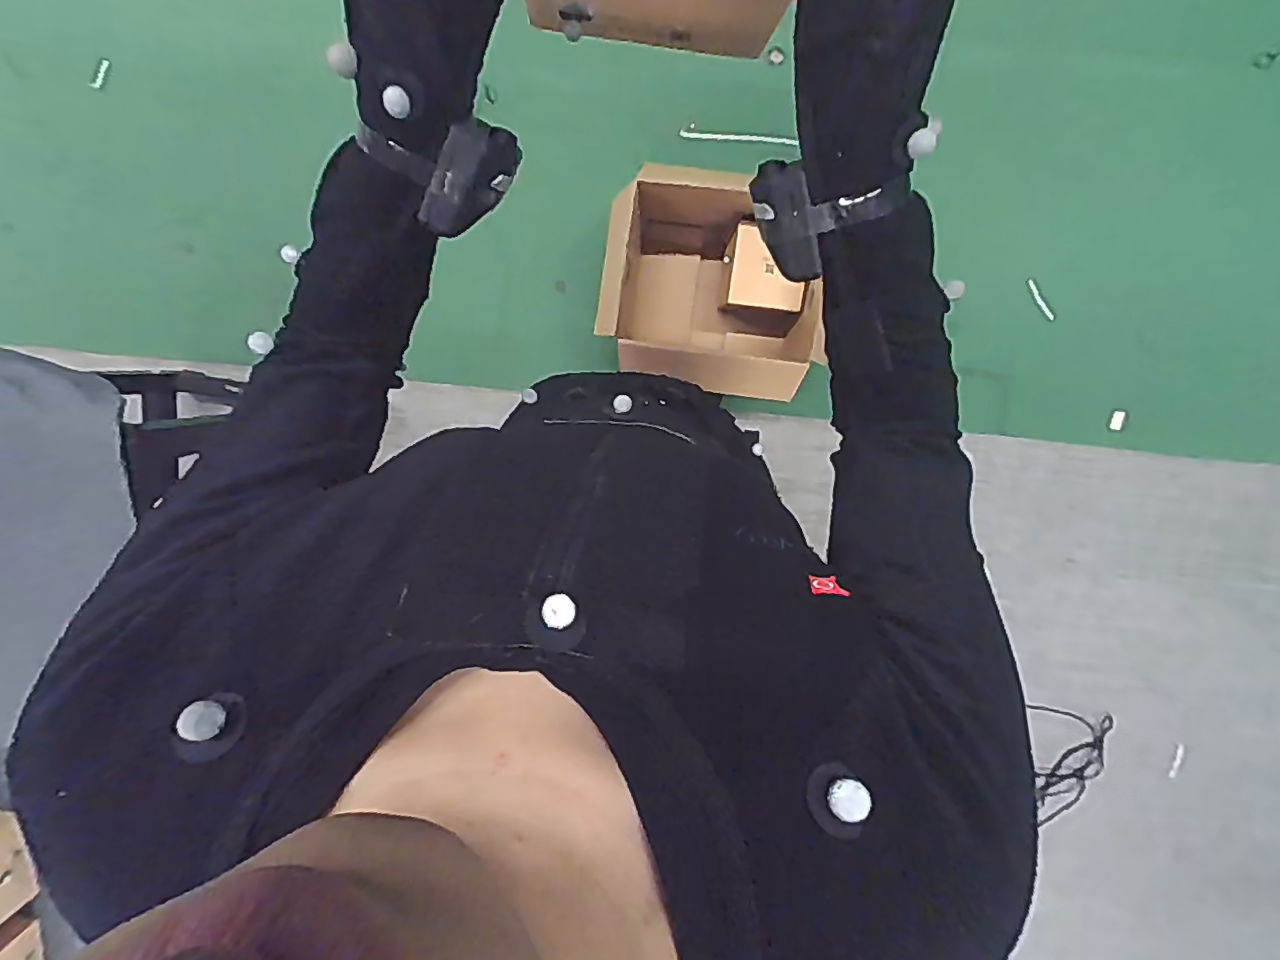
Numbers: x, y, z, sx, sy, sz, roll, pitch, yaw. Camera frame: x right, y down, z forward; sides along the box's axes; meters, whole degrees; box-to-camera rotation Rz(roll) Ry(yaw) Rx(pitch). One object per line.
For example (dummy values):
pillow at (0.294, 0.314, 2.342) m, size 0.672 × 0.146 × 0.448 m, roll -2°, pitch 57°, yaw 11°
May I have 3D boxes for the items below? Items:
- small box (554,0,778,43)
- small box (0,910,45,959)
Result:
small box at (0.018, -0.374, 0.283) m, size 0.168 × 0.176 × 0.179 m, roll 5°, pitch 107°, yaw -5°
small box at (-1.160, 0.849, 0.894) m, size 0.179 × 0.176 × 0.168 m, roll 7°, pitch 102°, yaw 2°
